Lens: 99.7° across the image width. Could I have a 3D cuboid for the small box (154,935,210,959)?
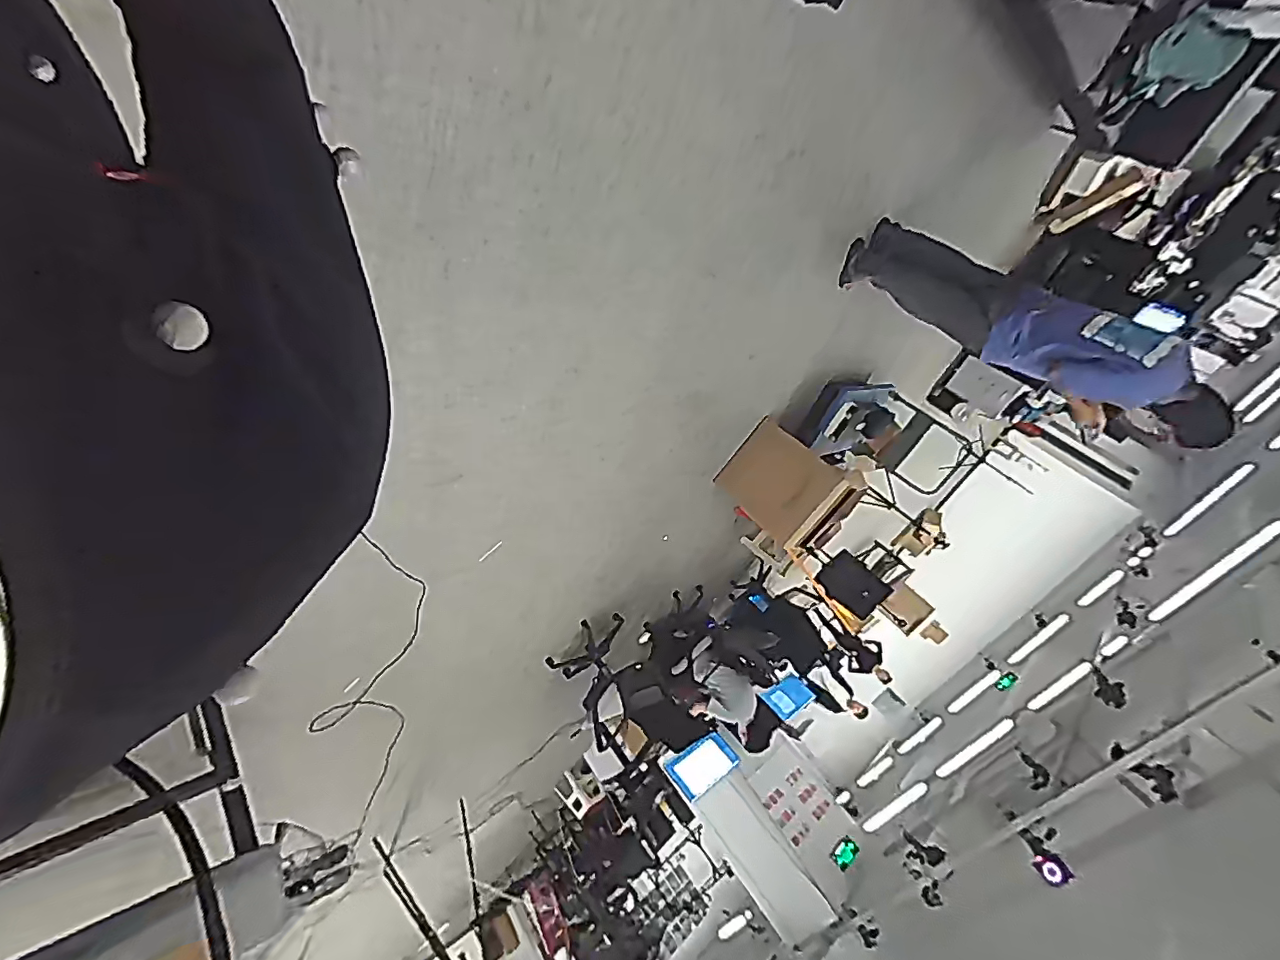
[{"bbox_3d":[-1.281,1.403,1.475,0.179,0.176,0.168,-14,139,-41],"label":"small box"}]
